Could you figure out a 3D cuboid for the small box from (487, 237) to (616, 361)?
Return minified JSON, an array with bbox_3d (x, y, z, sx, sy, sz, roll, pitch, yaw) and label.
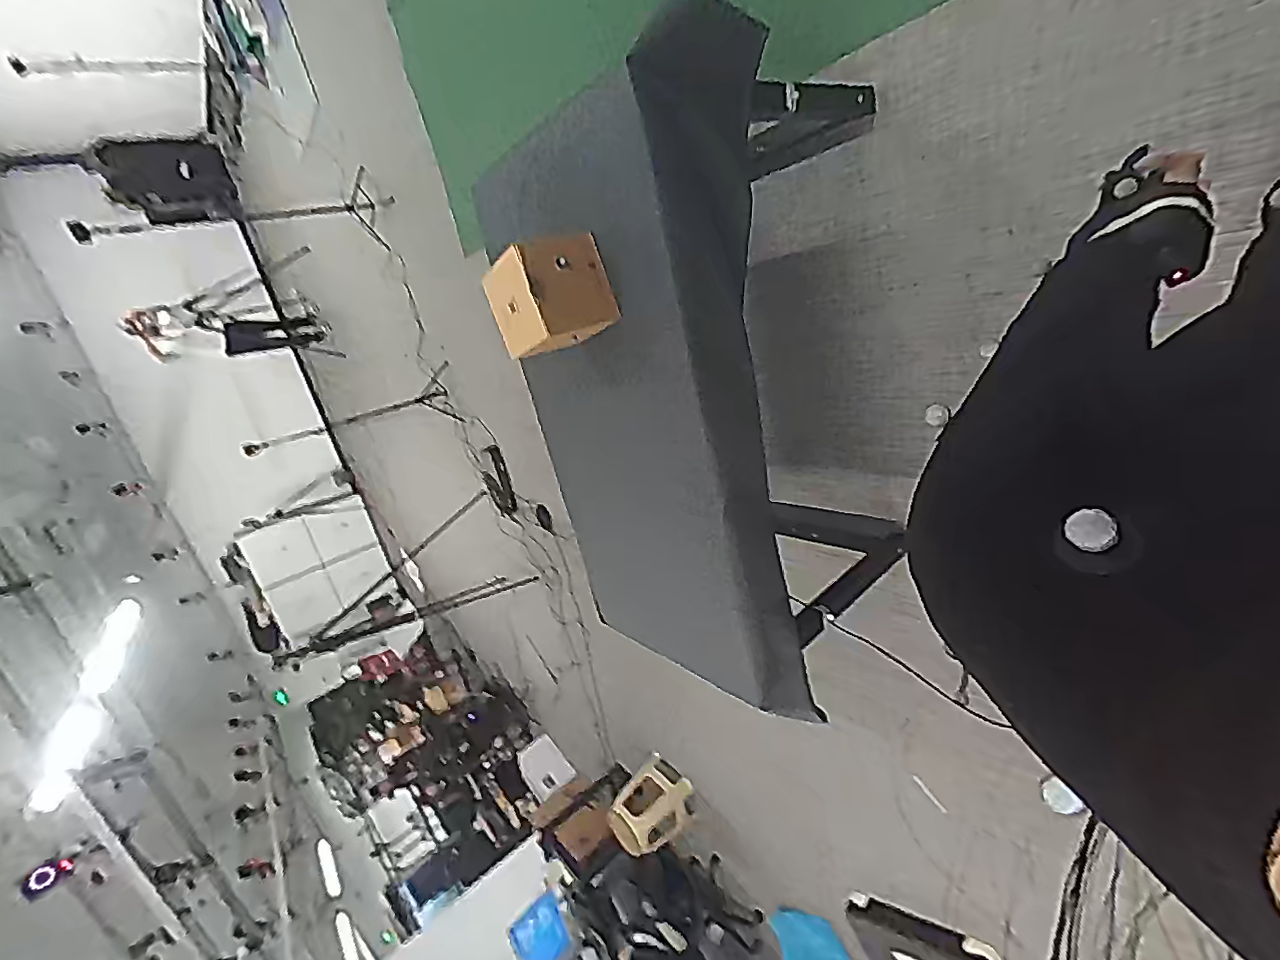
[{"bbox_3d":[-0.163,-0.347,1.039,0.179,0.176,0.168,-7,105,57],"label":"small box"}]
